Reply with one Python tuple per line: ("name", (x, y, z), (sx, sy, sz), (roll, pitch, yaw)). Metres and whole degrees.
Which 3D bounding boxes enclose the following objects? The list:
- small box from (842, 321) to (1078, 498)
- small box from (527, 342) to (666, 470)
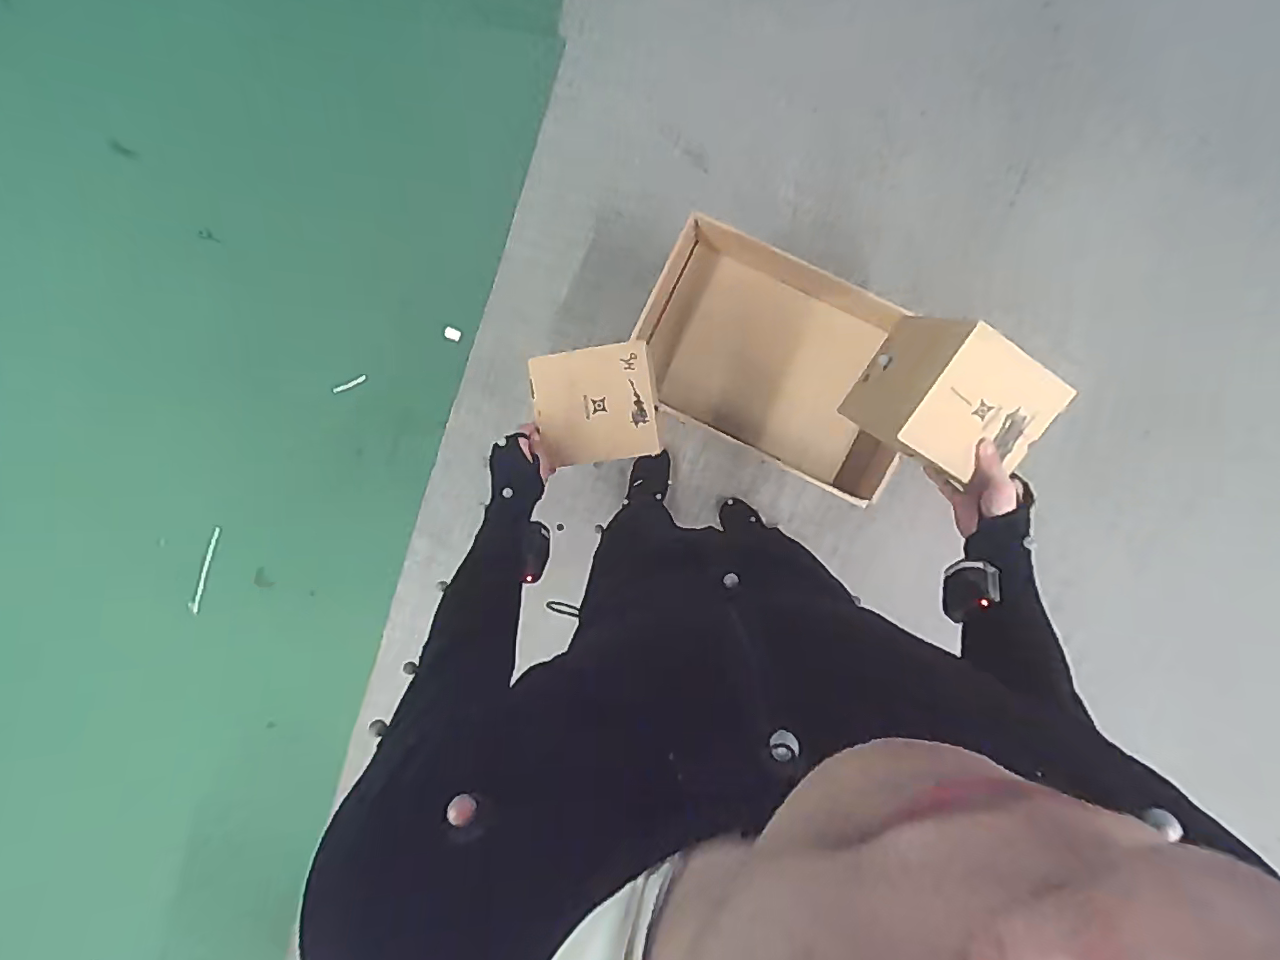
("small box", (0.419, -0.105, 0.737), (0.179, 0.176, 0.168), (28, 103, -13))
("small box", (-0.059, -0.110, 0.856), (0.179, 0.176, 0.168), (-8, 94, 6))
